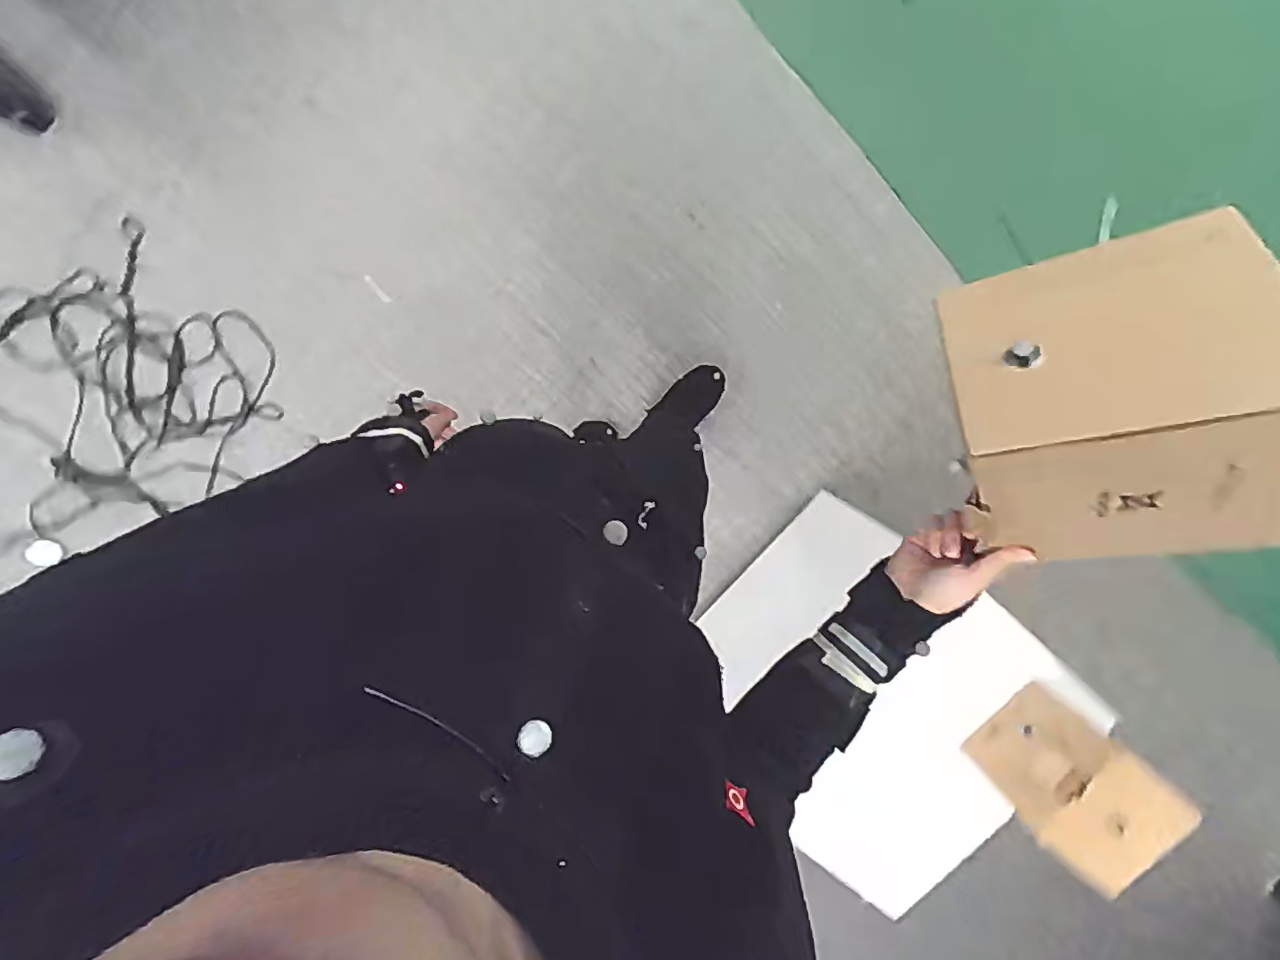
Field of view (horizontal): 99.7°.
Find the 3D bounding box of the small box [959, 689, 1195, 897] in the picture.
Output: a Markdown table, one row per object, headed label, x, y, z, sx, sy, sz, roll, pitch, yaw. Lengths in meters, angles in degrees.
| label | x | y | z | sx | sy | sz | roll | pitch | yaw |
| --- | --- | --- | --- | --- | --- | --- | --- | --- | --- |
| small box | 0.633 | 0.453 | 0.807 | 0.179 | 0.176 | 0.168 | 40 | 98 | -9 |
